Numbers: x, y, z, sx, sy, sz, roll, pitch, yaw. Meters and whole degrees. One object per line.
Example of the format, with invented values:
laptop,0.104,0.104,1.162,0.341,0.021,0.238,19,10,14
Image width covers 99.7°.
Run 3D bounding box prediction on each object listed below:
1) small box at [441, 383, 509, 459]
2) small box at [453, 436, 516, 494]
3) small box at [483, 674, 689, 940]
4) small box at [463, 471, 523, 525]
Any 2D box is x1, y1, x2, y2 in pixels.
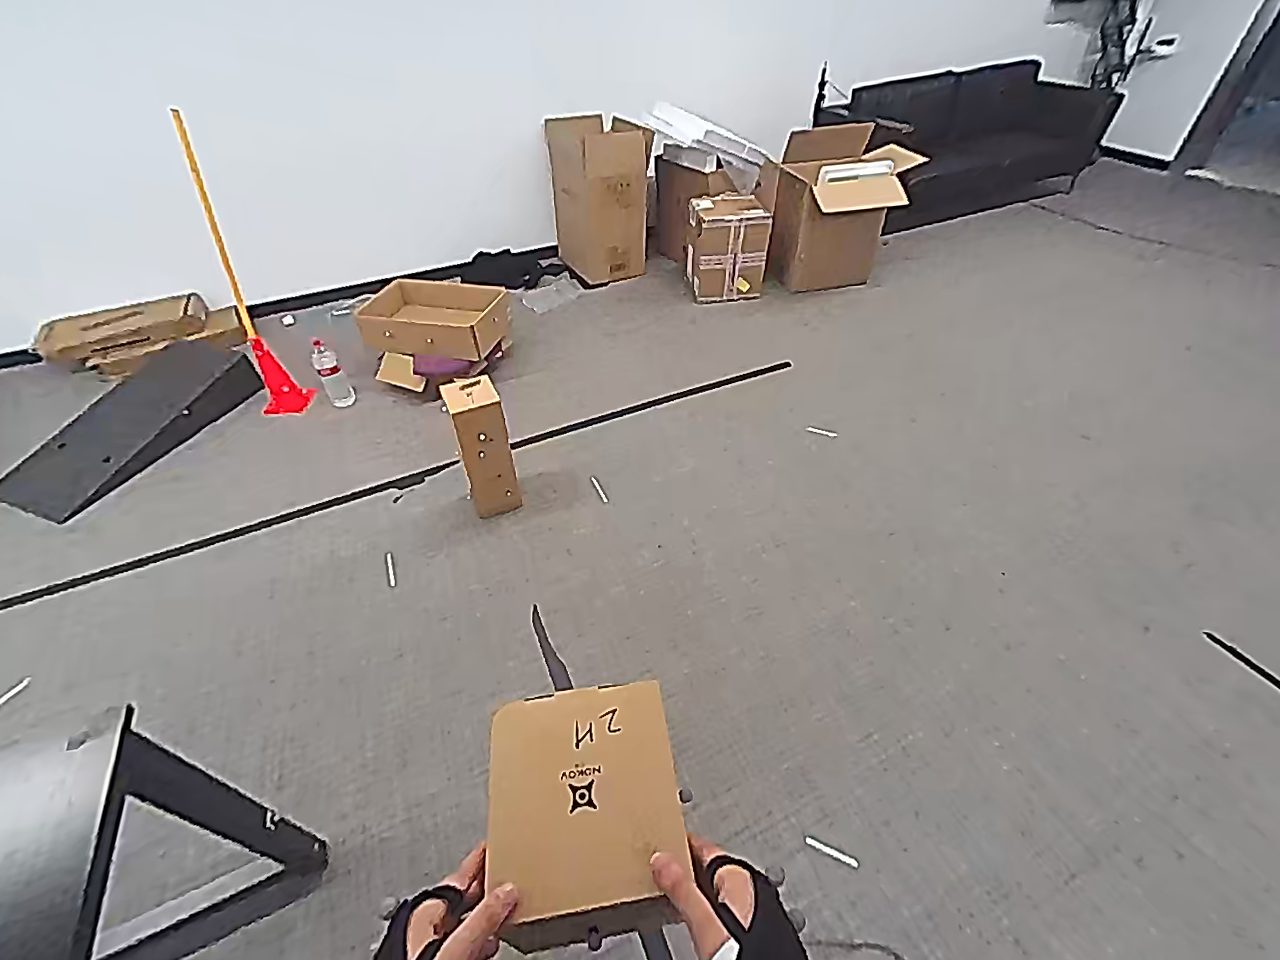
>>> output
small box,-0.561,-0.200,1.847,0.168,0.176,0.179,-20,46,-18
small box,-0.561,-0.077,1.957,0.168,0.176,0.179,-20,45,-18
small box,-0.048,0.322,0.530,0.168,0.176,0.179,-8,43,-5
small box,-0.558,0.043,2.069,0.179,0.176,0.168,-20,45,-16
